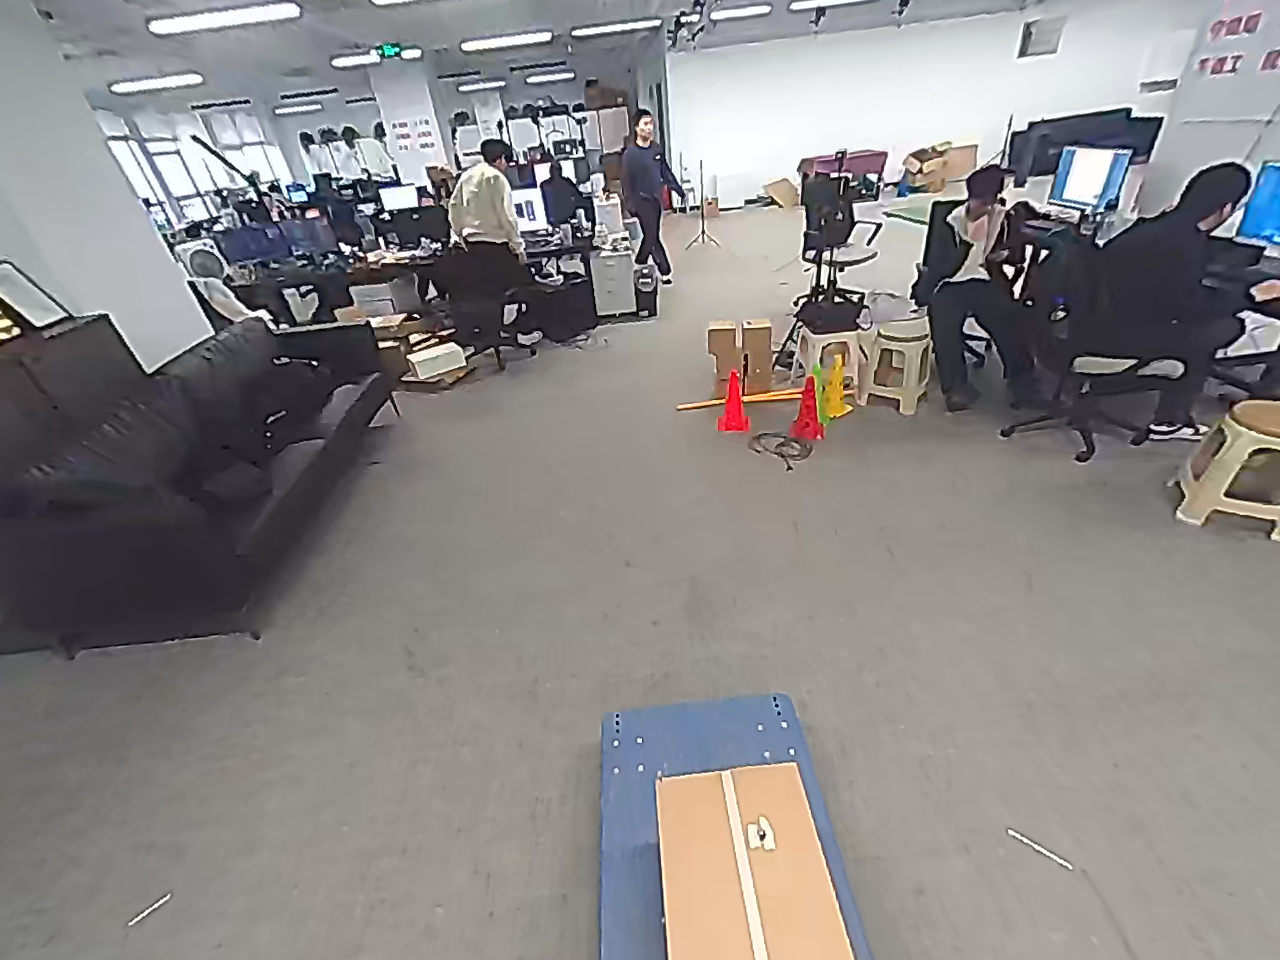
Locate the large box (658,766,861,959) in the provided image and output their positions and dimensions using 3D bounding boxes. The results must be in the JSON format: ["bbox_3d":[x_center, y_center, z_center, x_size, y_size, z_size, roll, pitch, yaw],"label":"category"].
[{"bbox_3d":[0.221,0.866,1.079,0.320,0.320,0.408,-7,33,1],"label":"large box"}]
